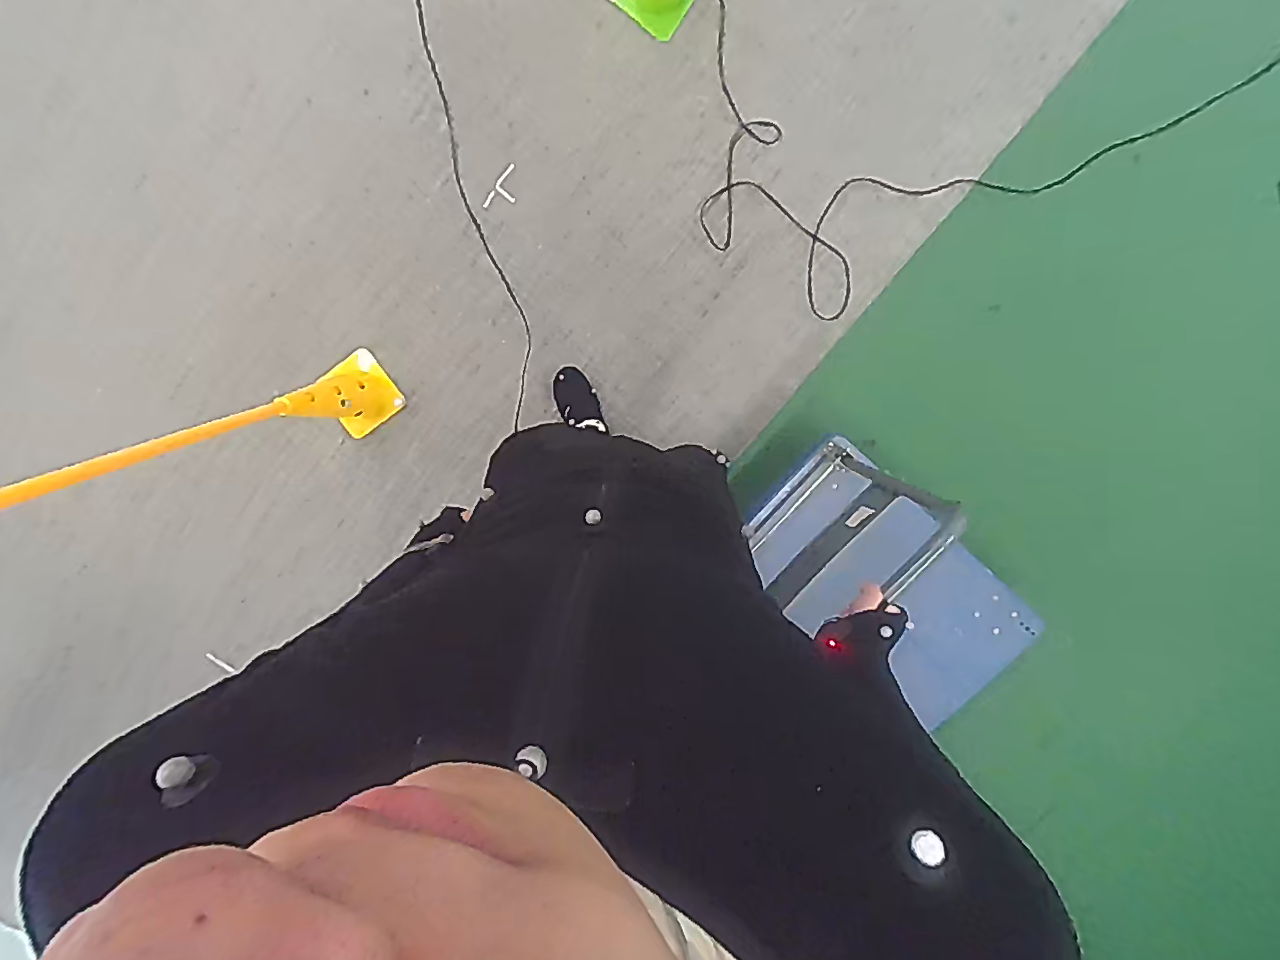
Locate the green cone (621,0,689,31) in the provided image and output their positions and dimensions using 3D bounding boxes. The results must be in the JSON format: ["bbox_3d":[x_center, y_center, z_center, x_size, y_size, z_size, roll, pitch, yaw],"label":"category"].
[{"bbox_3d":[0.044,-1.202,1.150,0.200,0.368,0.202,34,100,-8],"label":"green cone"}]
